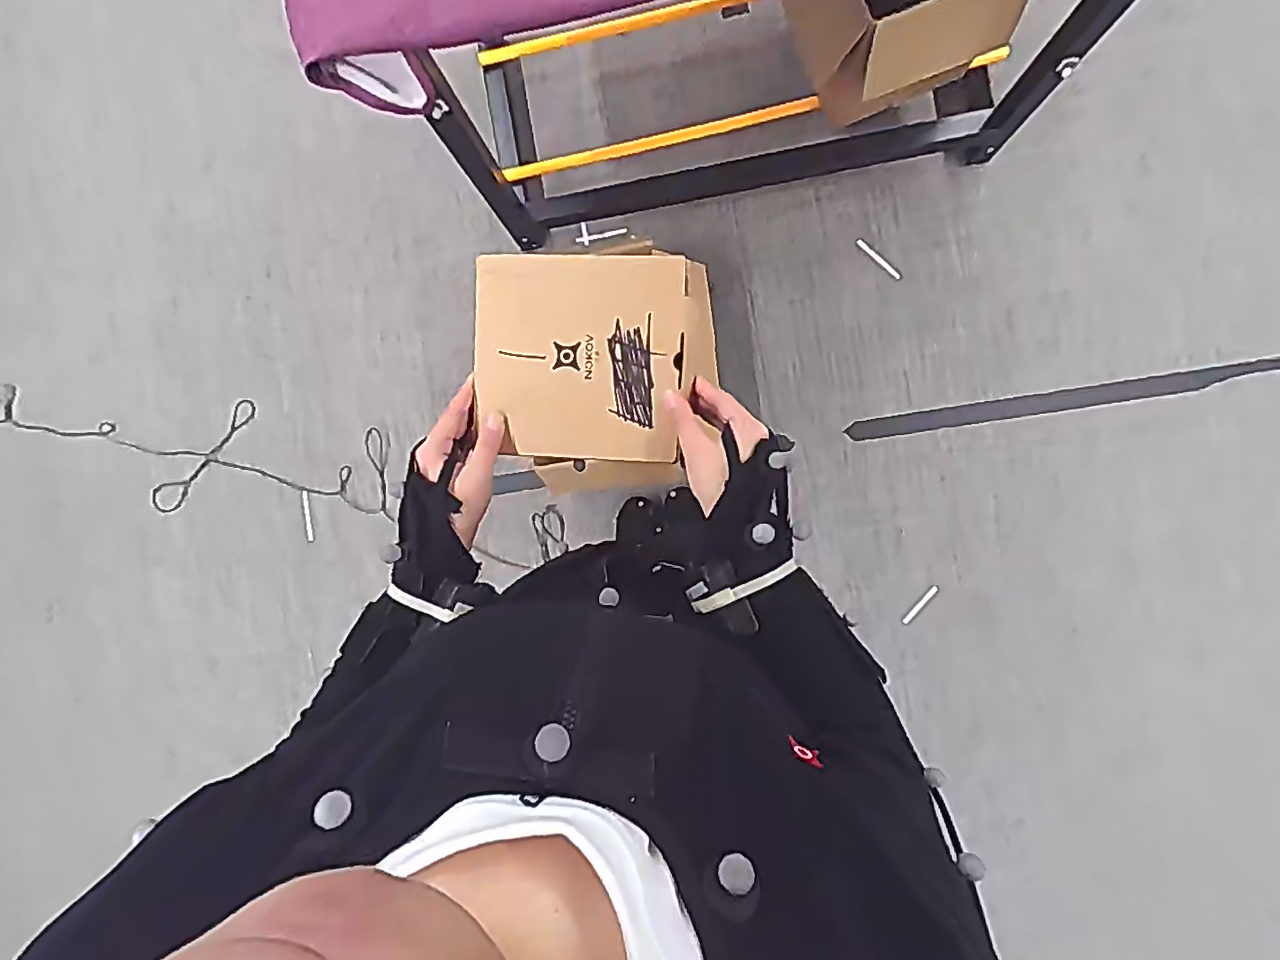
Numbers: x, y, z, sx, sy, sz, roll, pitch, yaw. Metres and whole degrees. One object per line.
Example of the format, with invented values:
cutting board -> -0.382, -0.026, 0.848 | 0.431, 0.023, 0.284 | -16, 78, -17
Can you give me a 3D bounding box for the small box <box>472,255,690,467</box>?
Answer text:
small box -> -0.044, -0.104, 0.521 | 0.179, 0.176, 0.168 | 4, 95, 6
